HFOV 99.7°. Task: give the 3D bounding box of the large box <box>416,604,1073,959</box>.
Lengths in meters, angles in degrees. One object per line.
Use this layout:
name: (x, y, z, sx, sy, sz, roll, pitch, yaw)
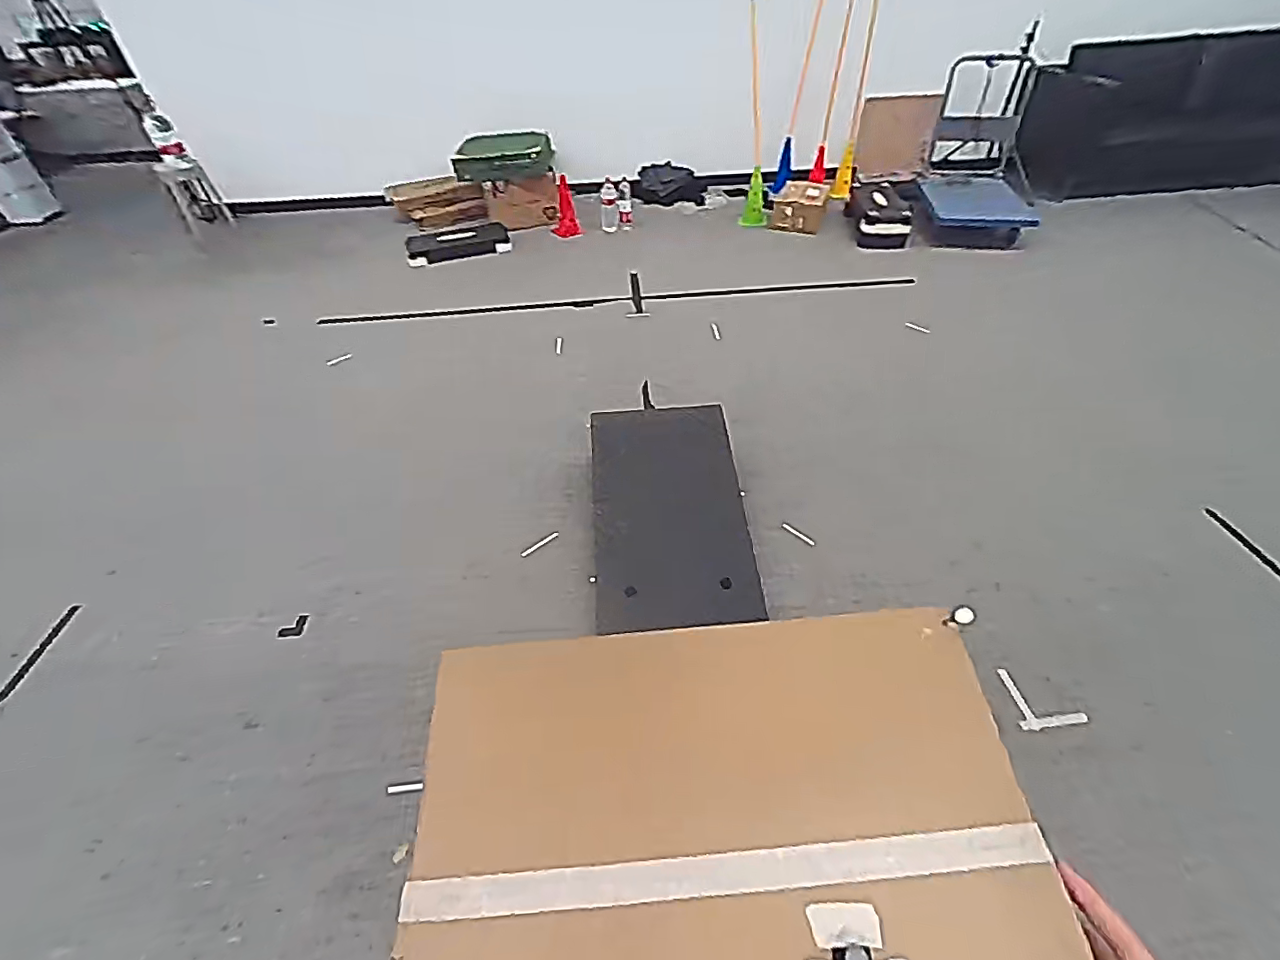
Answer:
large box: (0.060, 0.329, 0.481, 0.408, 0.320, 0.320, -5, 58, 0)
